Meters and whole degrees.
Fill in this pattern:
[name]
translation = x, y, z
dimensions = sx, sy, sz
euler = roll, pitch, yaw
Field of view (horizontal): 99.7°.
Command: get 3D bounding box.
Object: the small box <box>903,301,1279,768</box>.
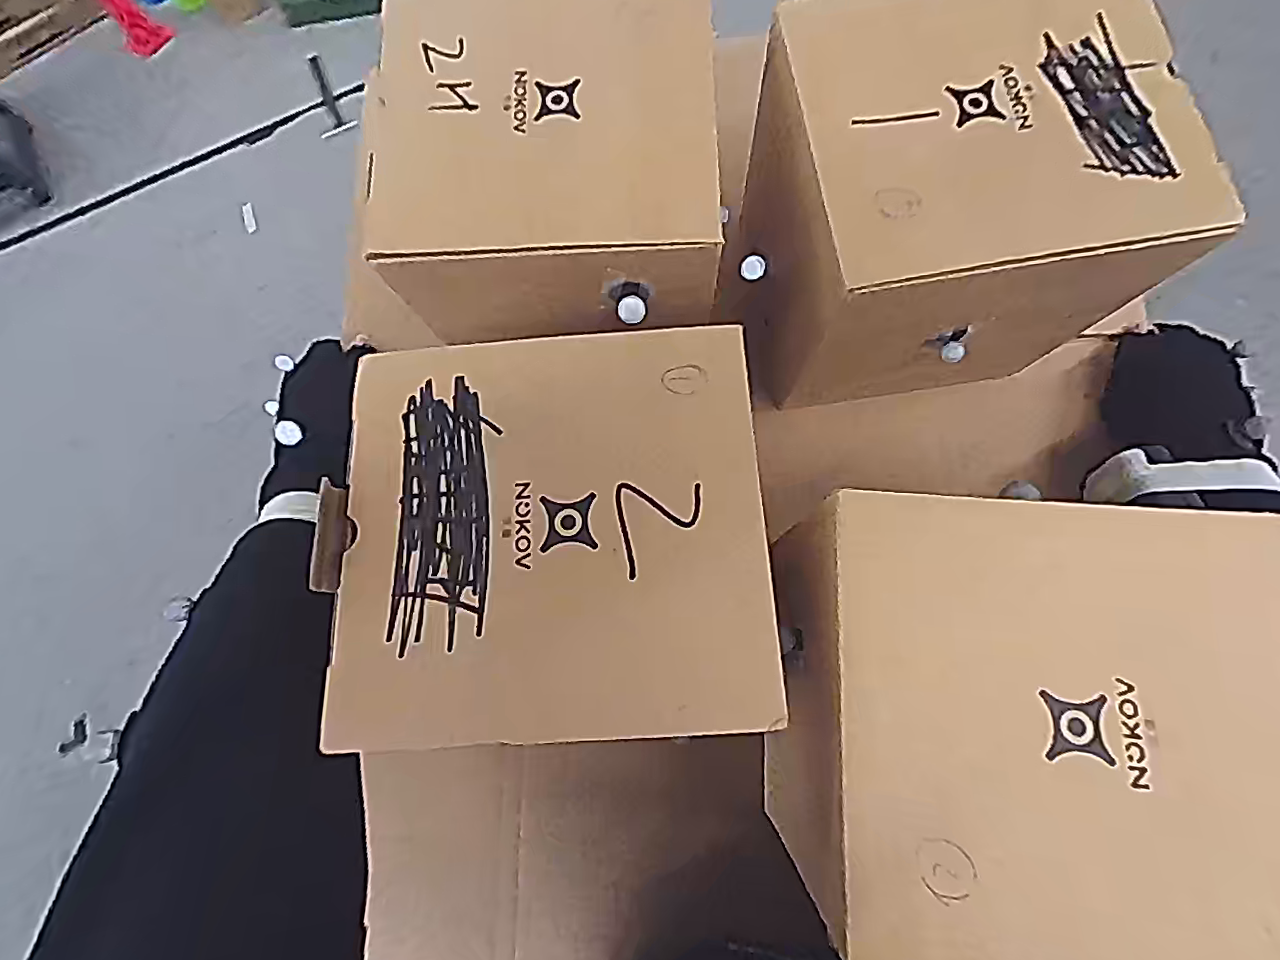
[small box]
translation = 0.266, 0.037, 0.269
dimensions = 0.179, 0.176, 0.168
euler = 16, 82, 6
